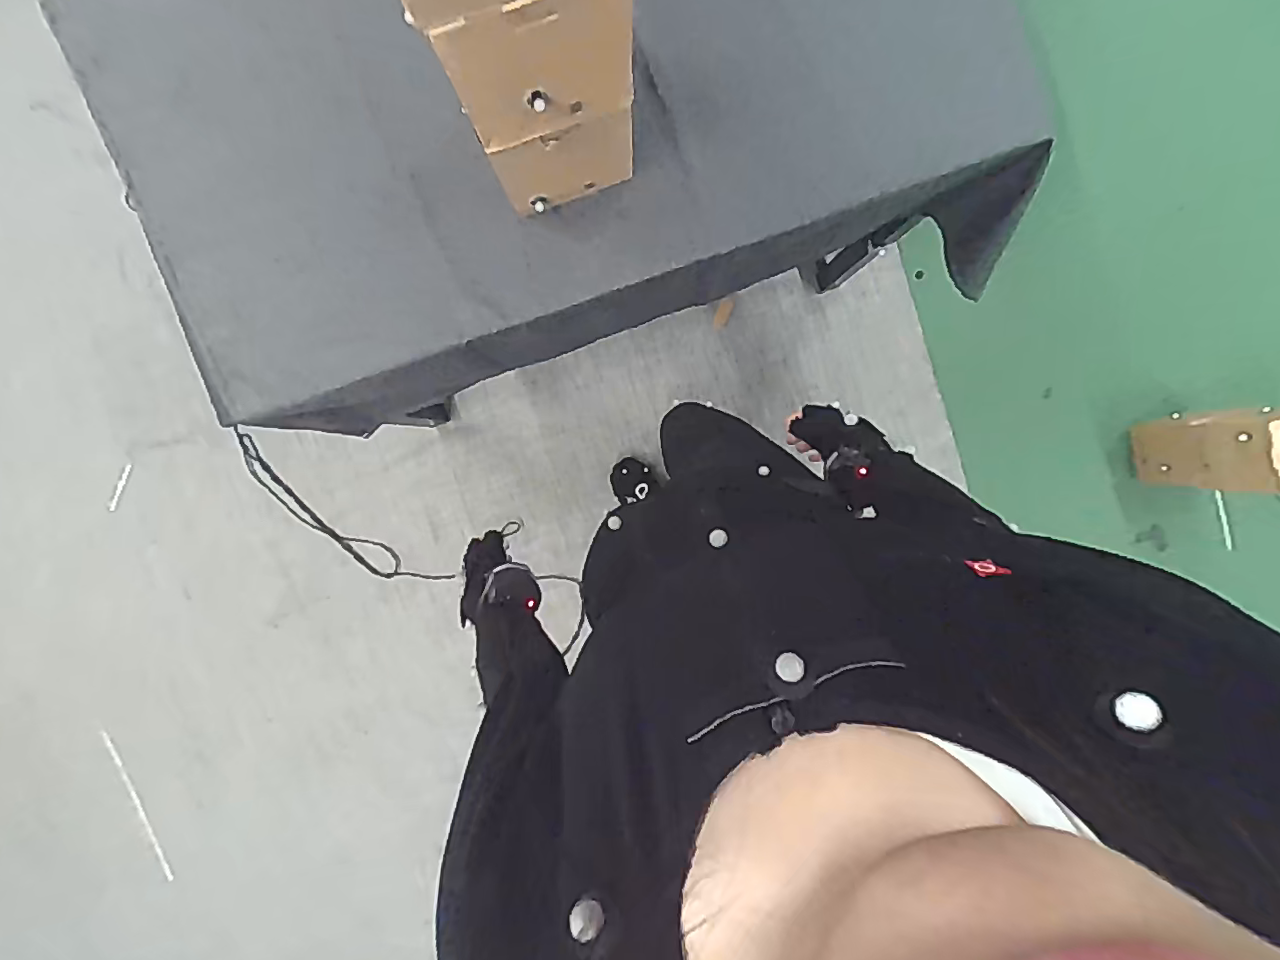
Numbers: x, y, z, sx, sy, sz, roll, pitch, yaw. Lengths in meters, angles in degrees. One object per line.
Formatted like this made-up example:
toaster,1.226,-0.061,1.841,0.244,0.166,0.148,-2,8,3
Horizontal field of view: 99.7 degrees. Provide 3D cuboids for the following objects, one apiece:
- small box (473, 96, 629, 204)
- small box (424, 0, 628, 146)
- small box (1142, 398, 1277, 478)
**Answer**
small box,-0.116,-0.464,0.652,0.168,0.176,0.179,-20,93,1
small box,-0.115,-0.453,0.490,0.168,0.176,0.179,-19,94,1
small box,1.458,-0.106,1.399,0.179,0.176,0.168,-14,94,1
